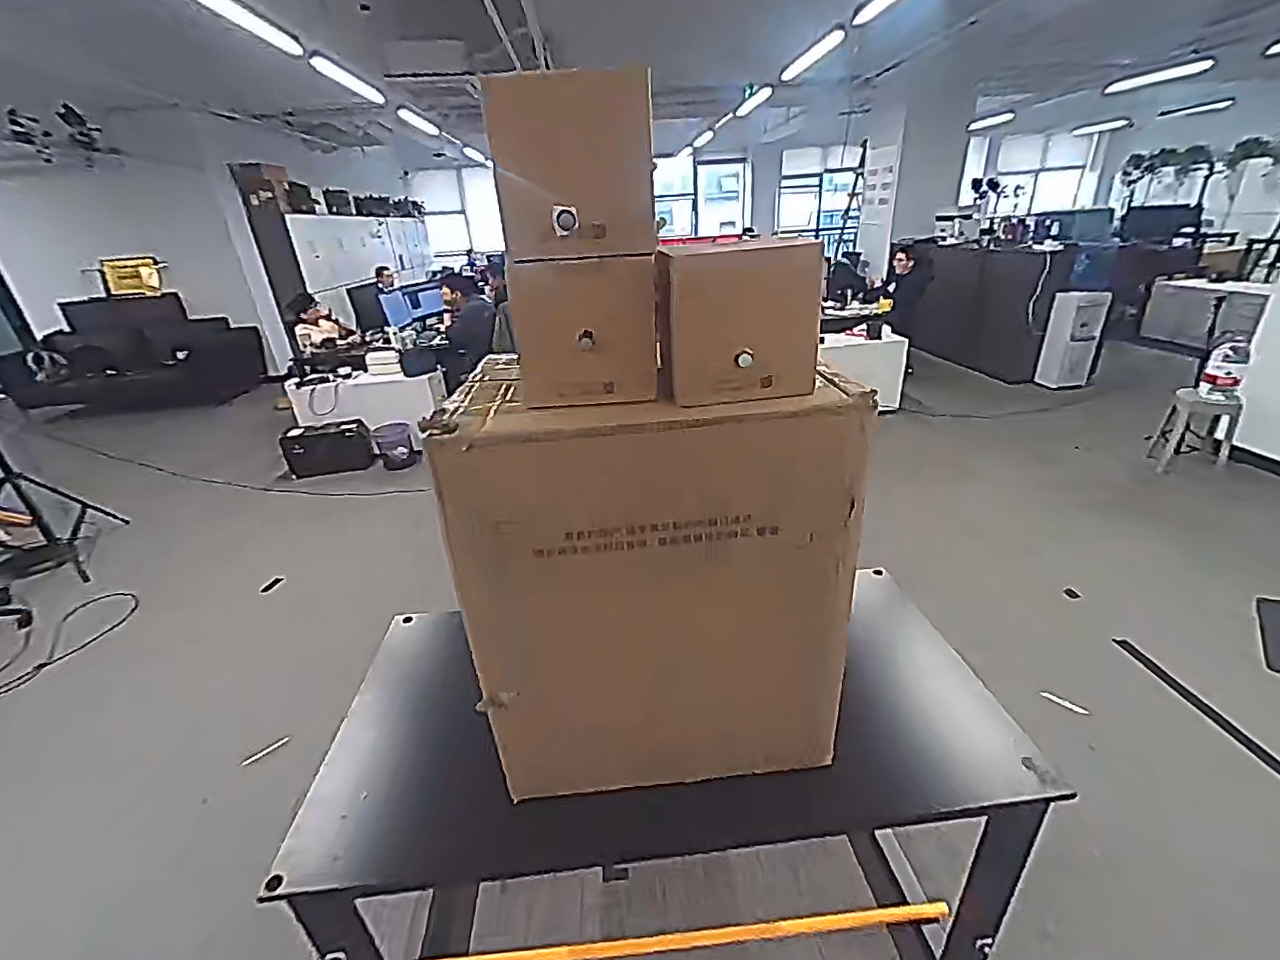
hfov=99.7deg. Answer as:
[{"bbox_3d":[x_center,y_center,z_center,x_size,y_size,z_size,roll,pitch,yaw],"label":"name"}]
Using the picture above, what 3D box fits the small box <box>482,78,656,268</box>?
[{"bbox_3d":[-0.073,-0.345,0.630,0.168,0.176,0.179,-6,27,-2],"label":"small box"}]
